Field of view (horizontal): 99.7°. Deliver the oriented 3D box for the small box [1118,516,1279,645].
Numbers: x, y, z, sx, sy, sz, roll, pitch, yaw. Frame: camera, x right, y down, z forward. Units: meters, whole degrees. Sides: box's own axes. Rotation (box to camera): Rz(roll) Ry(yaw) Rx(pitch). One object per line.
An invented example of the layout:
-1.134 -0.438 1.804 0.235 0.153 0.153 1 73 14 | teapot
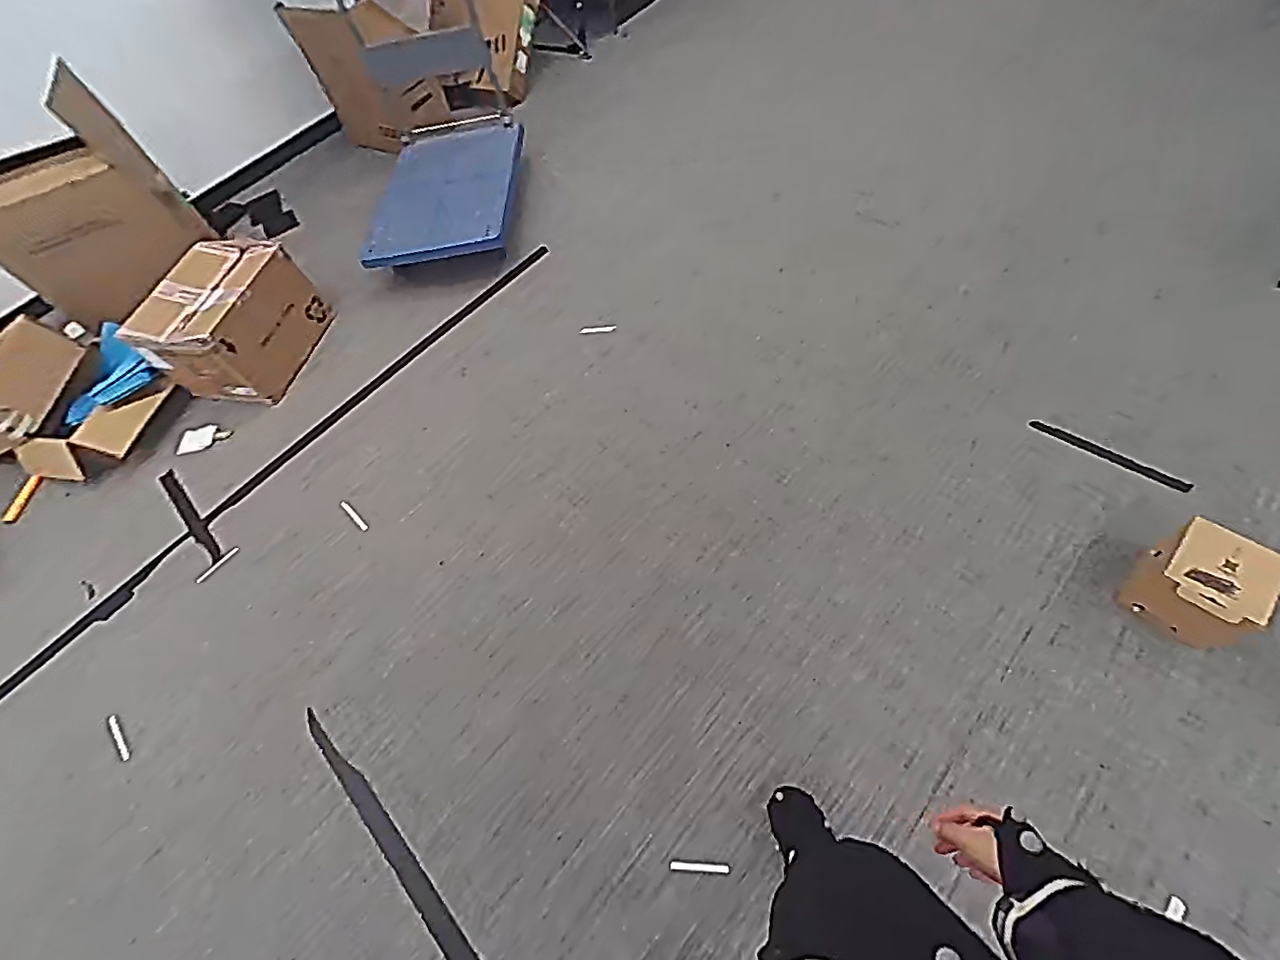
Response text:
1.156 0.214 1.127 0.168 0.176 0.179 36 72 26 | small box
